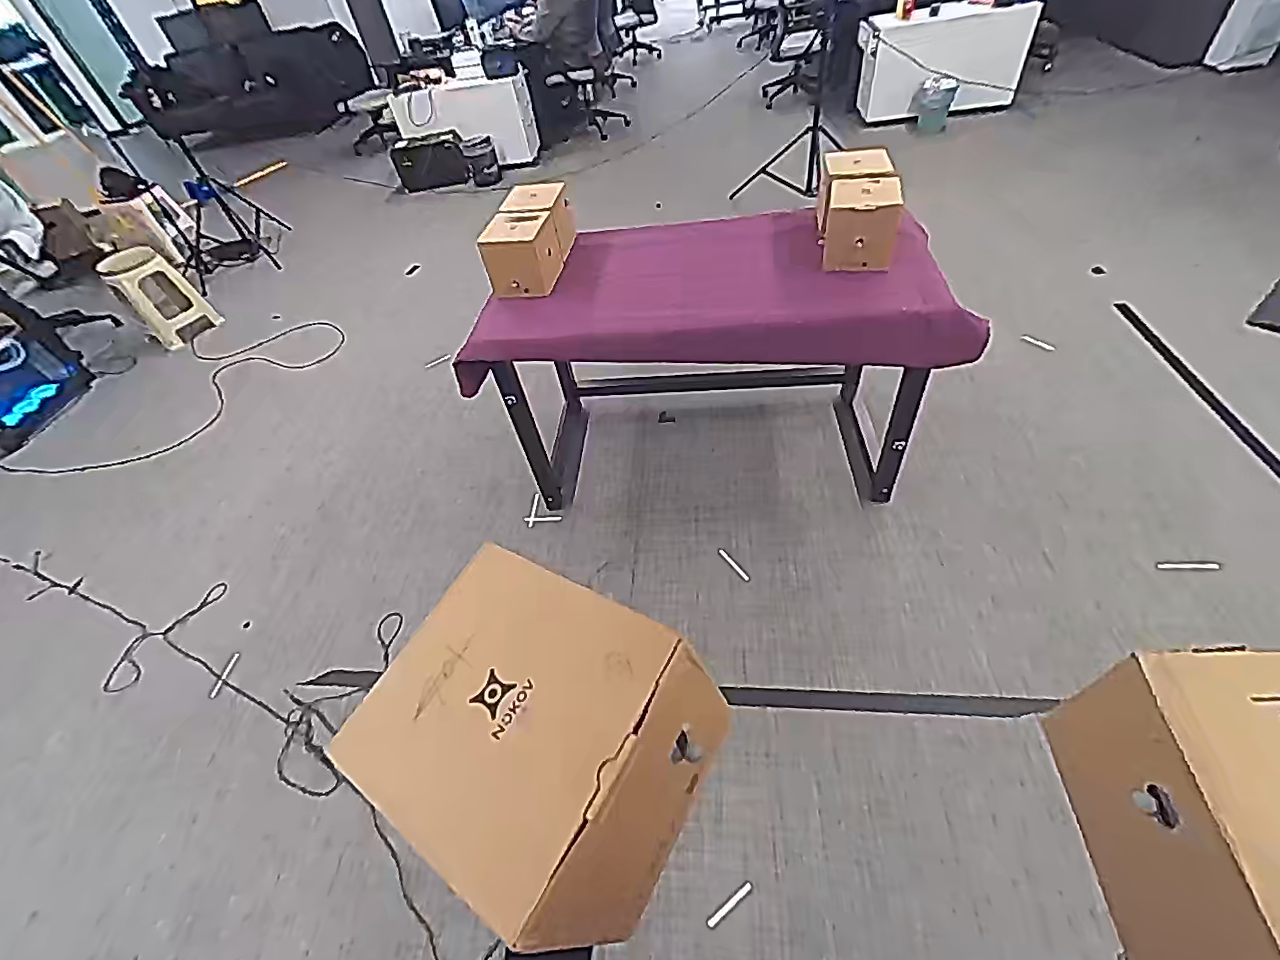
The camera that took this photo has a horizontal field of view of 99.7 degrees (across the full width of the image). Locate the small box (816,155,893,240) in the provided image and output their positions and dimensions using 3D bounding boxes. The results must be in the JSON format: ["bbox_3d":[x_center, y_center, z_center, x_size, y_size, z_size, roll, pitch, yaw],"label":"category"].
[{"bbox_3d":[0.600,-0.800,1.535,0.168,0.176,0.179,2,48,10],"label":"small box"}]

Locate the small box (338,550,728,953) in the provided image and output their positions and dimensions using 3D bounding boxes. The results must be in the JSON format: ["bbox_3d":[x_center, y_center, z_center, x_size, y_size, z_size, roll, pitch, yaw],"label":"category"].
[{"bbox_3d":[-0.056,0.182,0.384,0.179,0.176,0.168,17,60,32],"label":"small box"}]

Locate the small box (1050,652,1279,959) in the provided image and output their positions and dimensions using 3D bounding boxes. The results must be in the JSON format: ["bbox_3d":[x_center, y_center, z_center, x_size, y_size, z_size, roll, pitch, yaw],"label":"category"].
[{"bbox_3d":[0.388,0.215,0.320,0.168,0.176,0.179,-6,52,13],"label":"small box"}]

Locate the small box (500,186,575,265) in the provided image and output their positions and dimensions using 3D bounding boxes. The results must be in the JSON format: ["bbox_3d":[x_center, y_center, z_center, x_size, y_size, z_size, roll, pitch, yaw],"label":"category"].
[{"bbox_3d":[-0.308,-0.784,1.670,0.168,0.176,0.179,2,50,11],"label":"small box"}]
